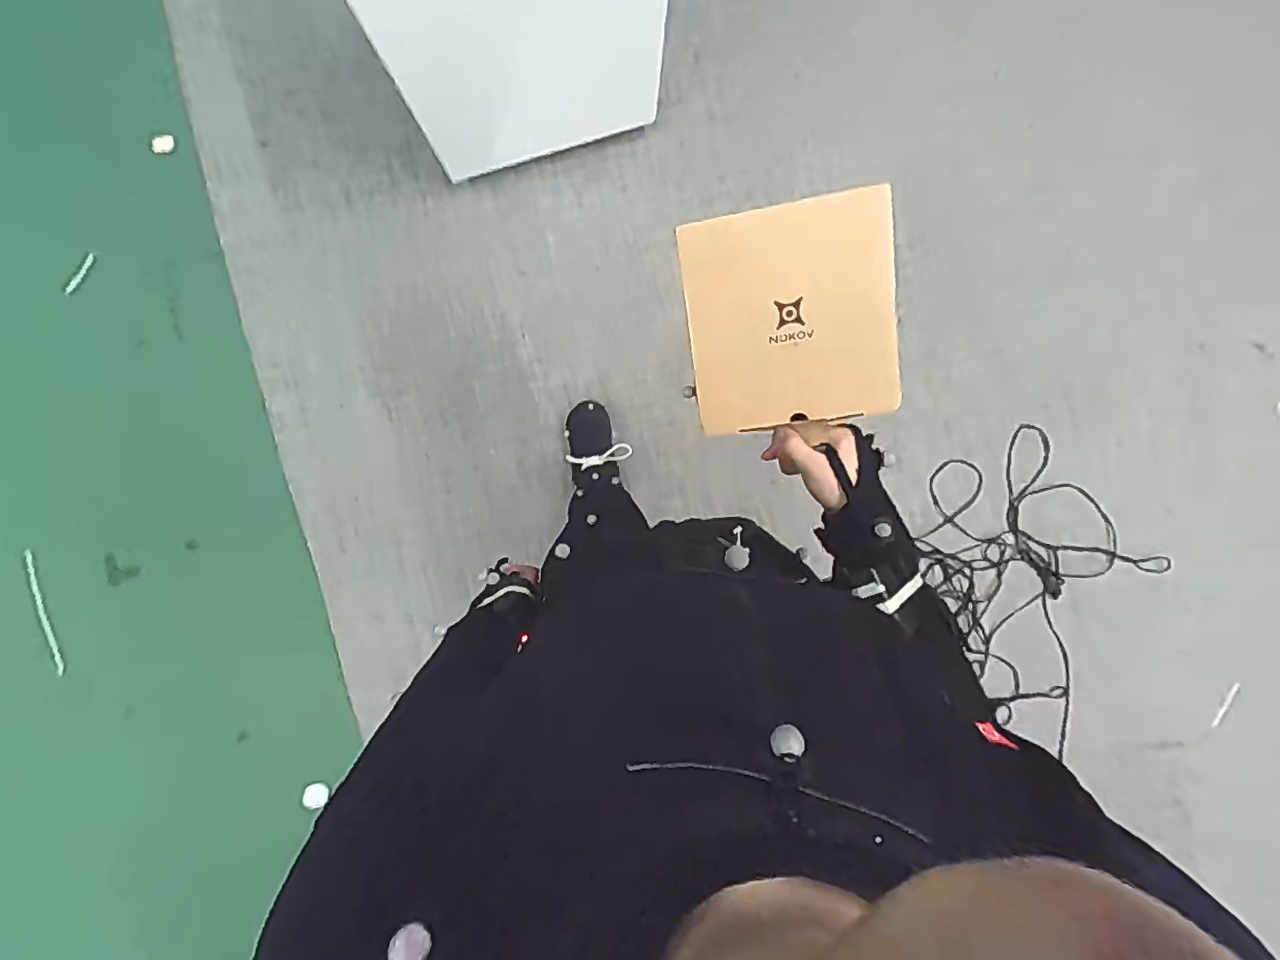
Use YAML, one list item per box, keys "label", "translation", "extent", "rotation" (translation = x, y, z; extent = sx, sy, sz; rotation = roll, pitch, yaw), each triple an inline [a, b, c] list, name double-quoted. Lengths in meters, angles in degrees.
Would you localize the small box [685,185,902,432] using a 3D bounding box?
- label: "small box"
  translation: [0.133, -0.150, 0.514]
  extent: [0.168, 0.176, 0.179]
  rotation: [-6, 103, 9]
